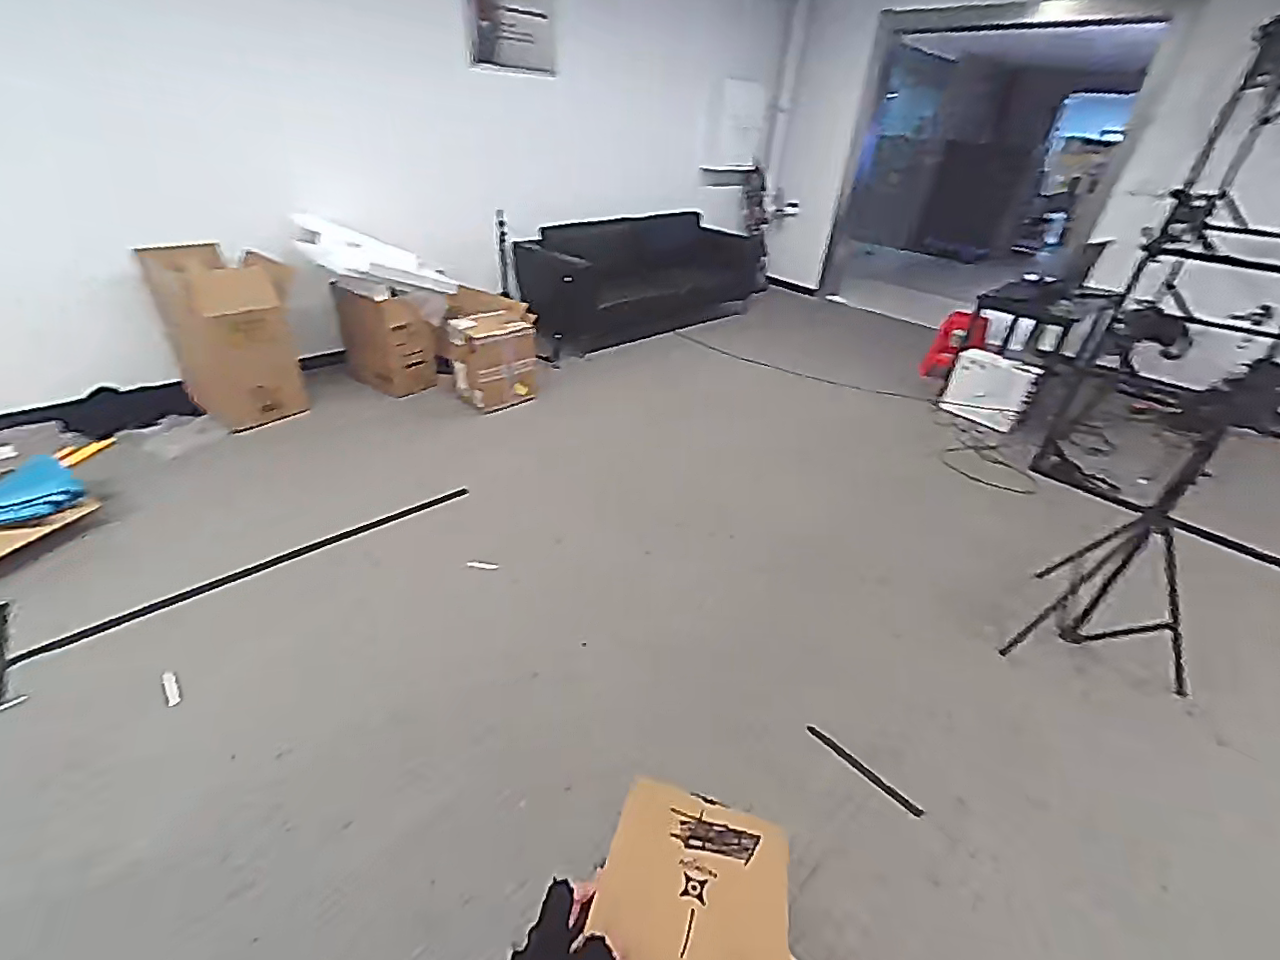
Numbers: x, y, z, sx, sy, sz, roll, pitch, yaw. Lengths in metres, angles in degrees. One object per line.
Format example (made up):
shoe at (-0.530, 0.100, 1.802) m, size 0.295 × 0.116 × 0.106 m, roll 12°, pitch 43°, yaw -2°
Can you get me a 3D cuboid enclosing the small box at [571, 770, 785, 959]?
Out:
small box at (0.032, 0.425, 0.506) m, size 0.168 × 0.176 × 0.179 m, roll 14°, pitch 20°, yaw 11°
